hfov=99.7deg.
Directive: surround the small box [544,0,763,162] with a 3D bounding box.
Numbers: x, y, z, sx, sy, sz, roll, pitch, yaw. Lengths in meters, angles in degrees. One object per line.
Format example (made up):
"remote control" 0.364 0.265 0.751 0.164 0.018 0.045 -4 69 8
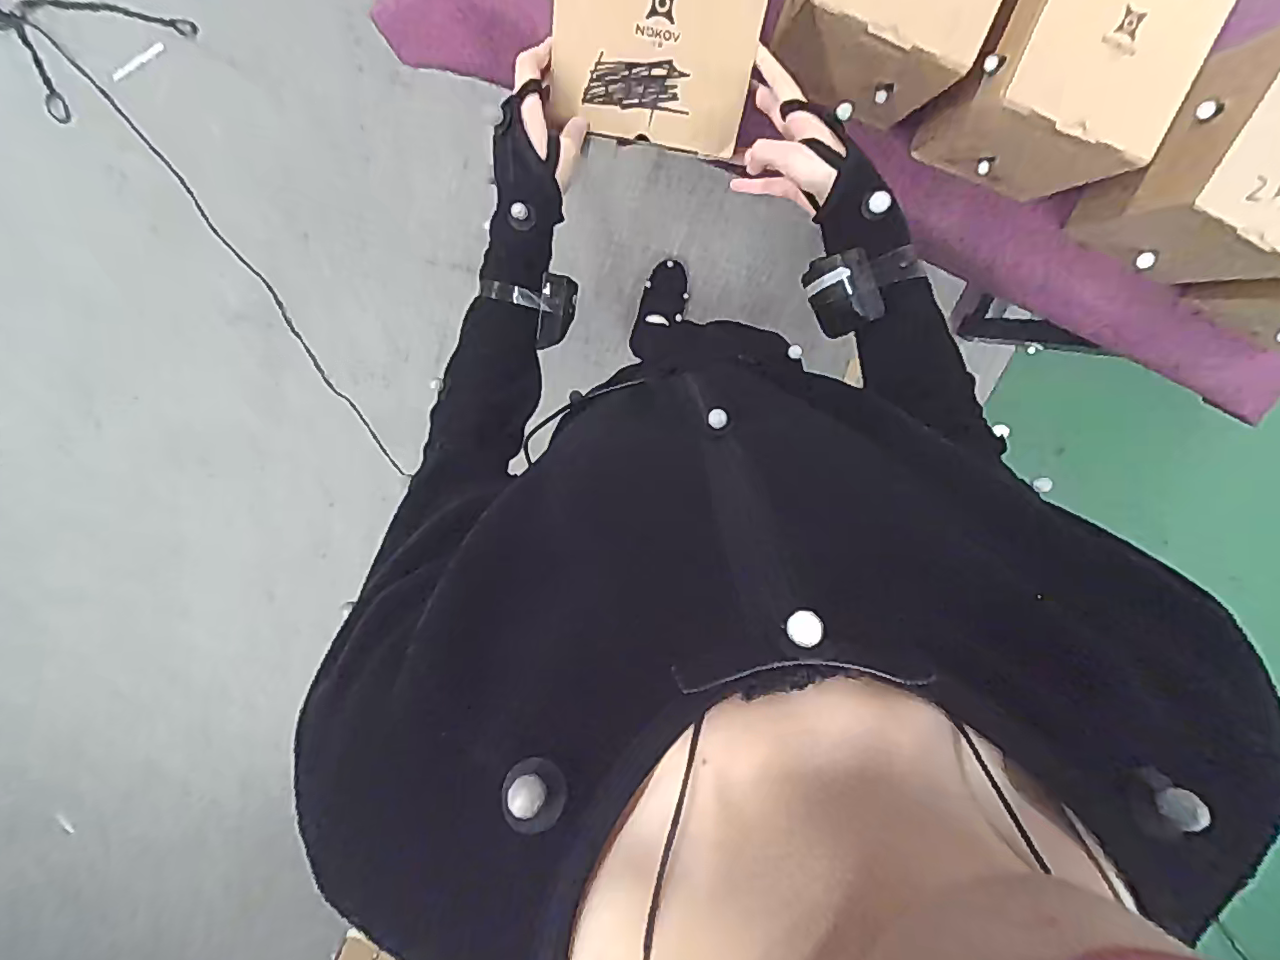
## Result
"small box" 0.011 -0.410 0.484 0.168 0.176 0.179 6 128 -6
